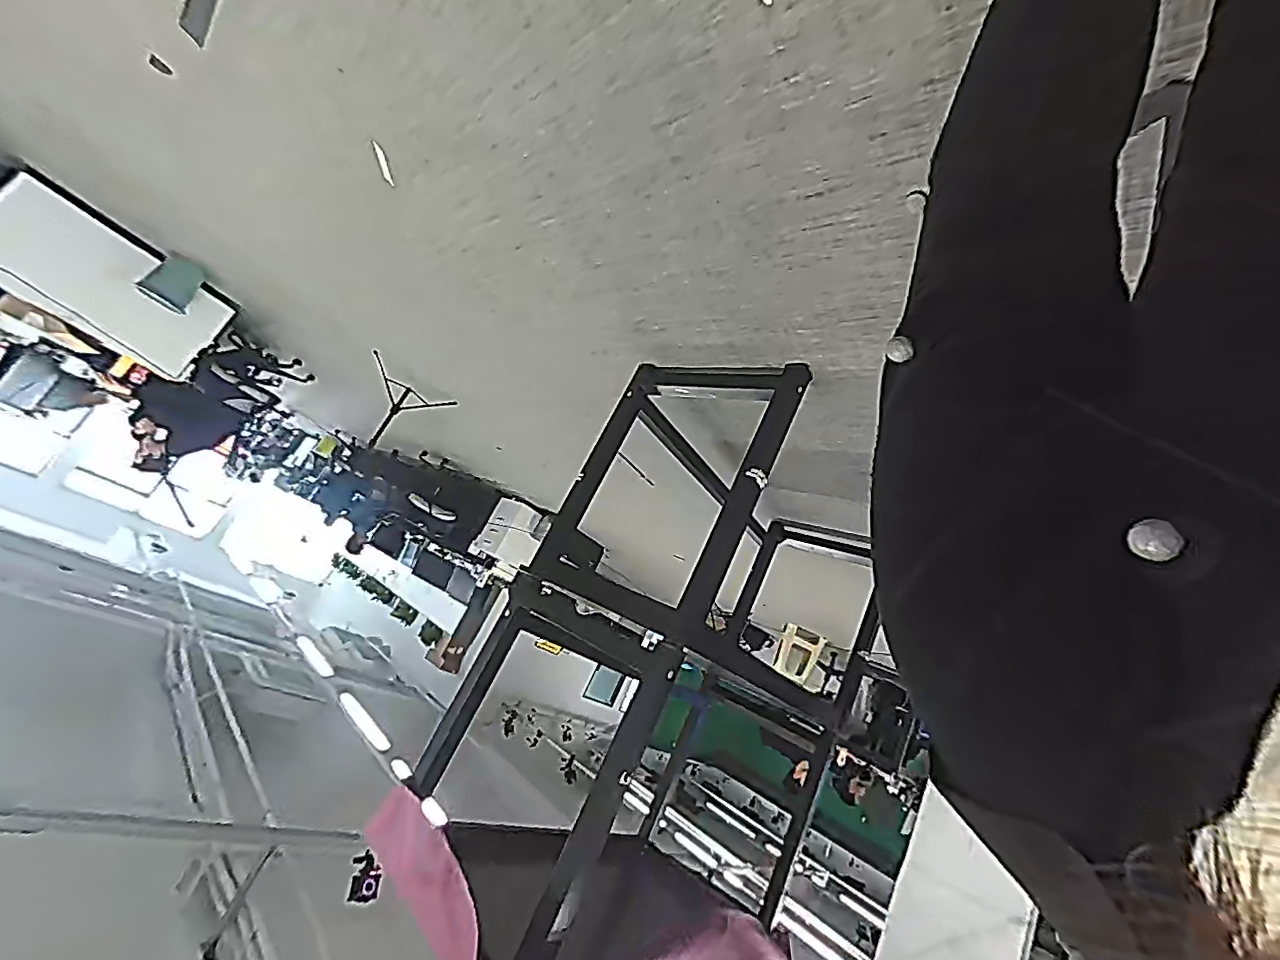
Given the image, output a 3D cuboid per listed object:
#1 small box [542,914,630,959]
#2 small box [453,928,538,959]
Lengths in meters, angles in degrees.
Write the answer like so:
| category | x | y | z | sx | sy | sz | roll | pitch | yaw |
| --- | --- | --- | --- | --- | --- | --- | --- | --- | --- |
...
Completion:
| category | x | y | z | sx | sy | sz | roll | pitch | yaw |
| --- | --- | --- | --- | --- | --- | --- | --- | --- | --- |
| small box | -0.147 | 1.264 | 1.386 | 0.179 | 0.176 | 0.168 | 10 | 157 | 48 |
| small box | -0.316 | 1.105 | 1.149 | 0.179 | 0.176 | 0.168 | 14 | 160 | 40 |
